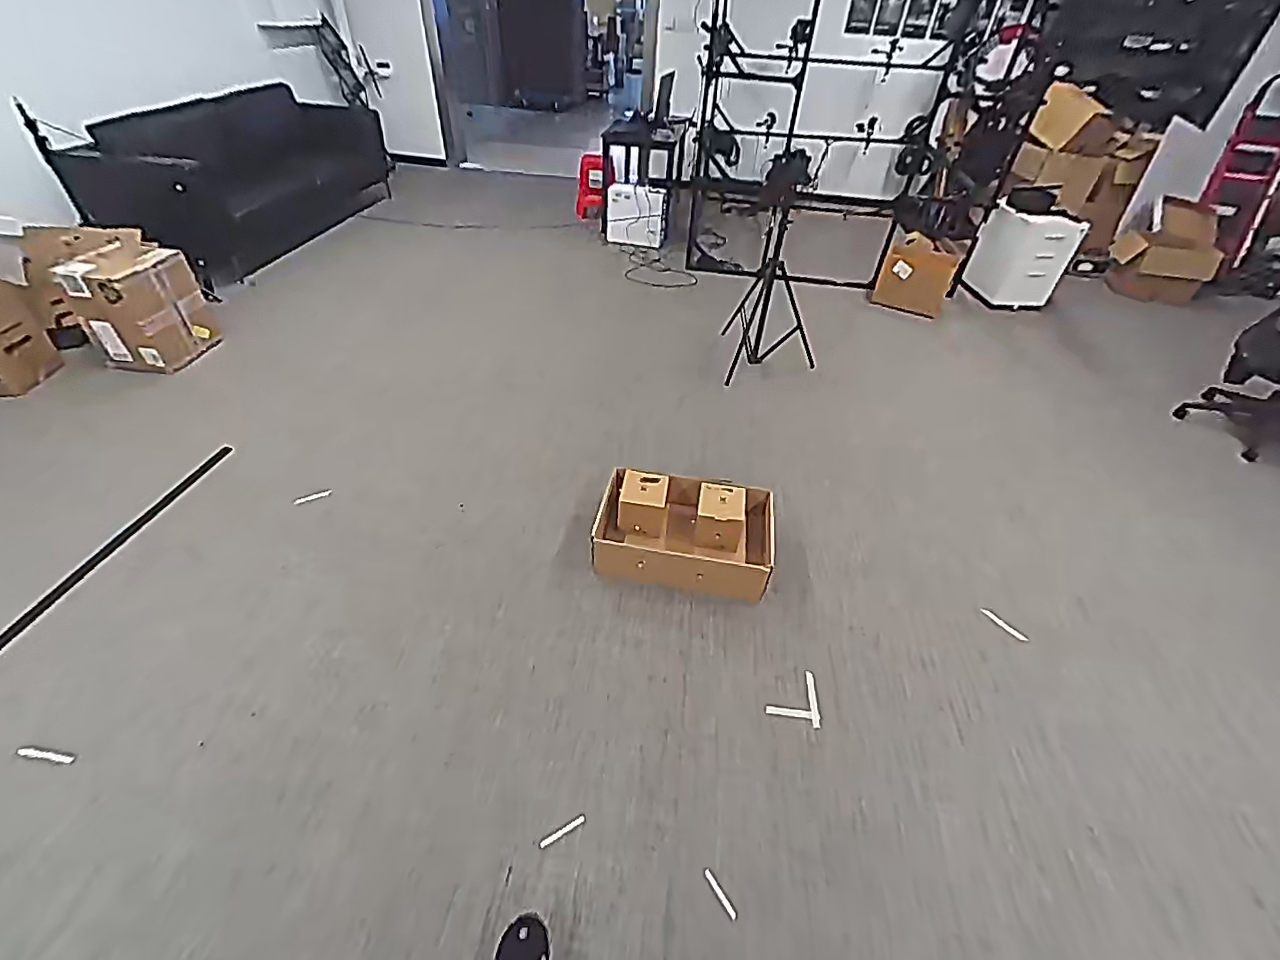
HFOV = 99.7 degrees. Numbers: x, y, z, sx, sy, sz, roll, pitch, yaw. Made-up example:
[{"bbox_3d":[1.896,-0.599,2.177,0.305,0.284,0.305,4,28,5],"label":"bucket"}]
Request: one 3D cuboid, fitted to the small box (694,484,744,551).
[{"bbox_3d":[0.291,0.139,2.001,0.168,0.176,0.179,7,43,8],"label":"small box"}]
